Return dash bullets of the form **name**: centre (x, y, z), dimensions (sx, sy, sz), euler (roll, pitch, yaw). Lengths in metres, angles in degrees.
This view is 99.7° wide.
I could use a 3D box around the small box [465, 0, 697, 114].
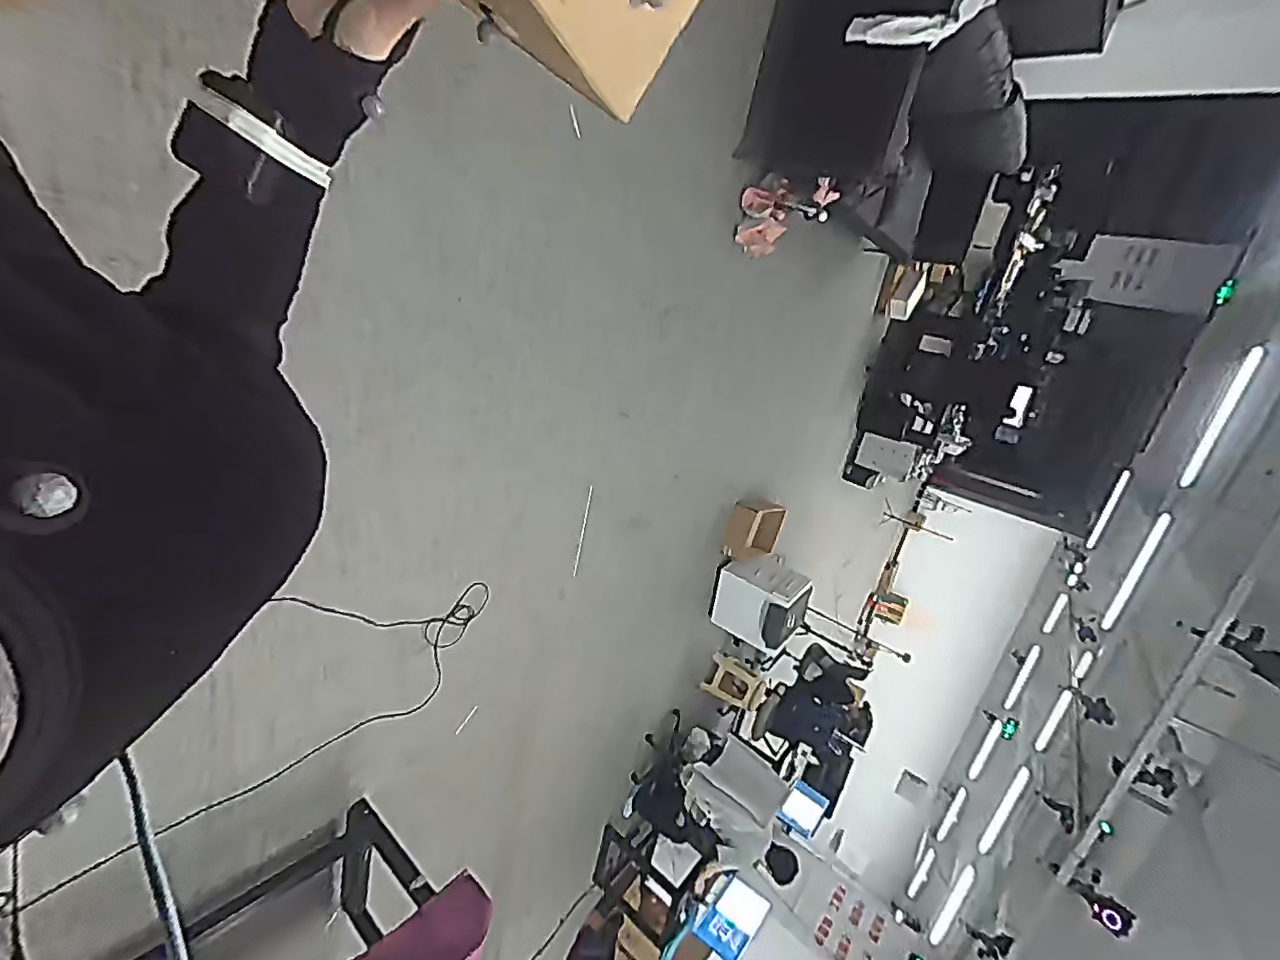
- **small box**: centre (-0.048, -0.317, 0.239), dimensions (0.168, 0.179, 0.176), euler (-53, 180, 20)
